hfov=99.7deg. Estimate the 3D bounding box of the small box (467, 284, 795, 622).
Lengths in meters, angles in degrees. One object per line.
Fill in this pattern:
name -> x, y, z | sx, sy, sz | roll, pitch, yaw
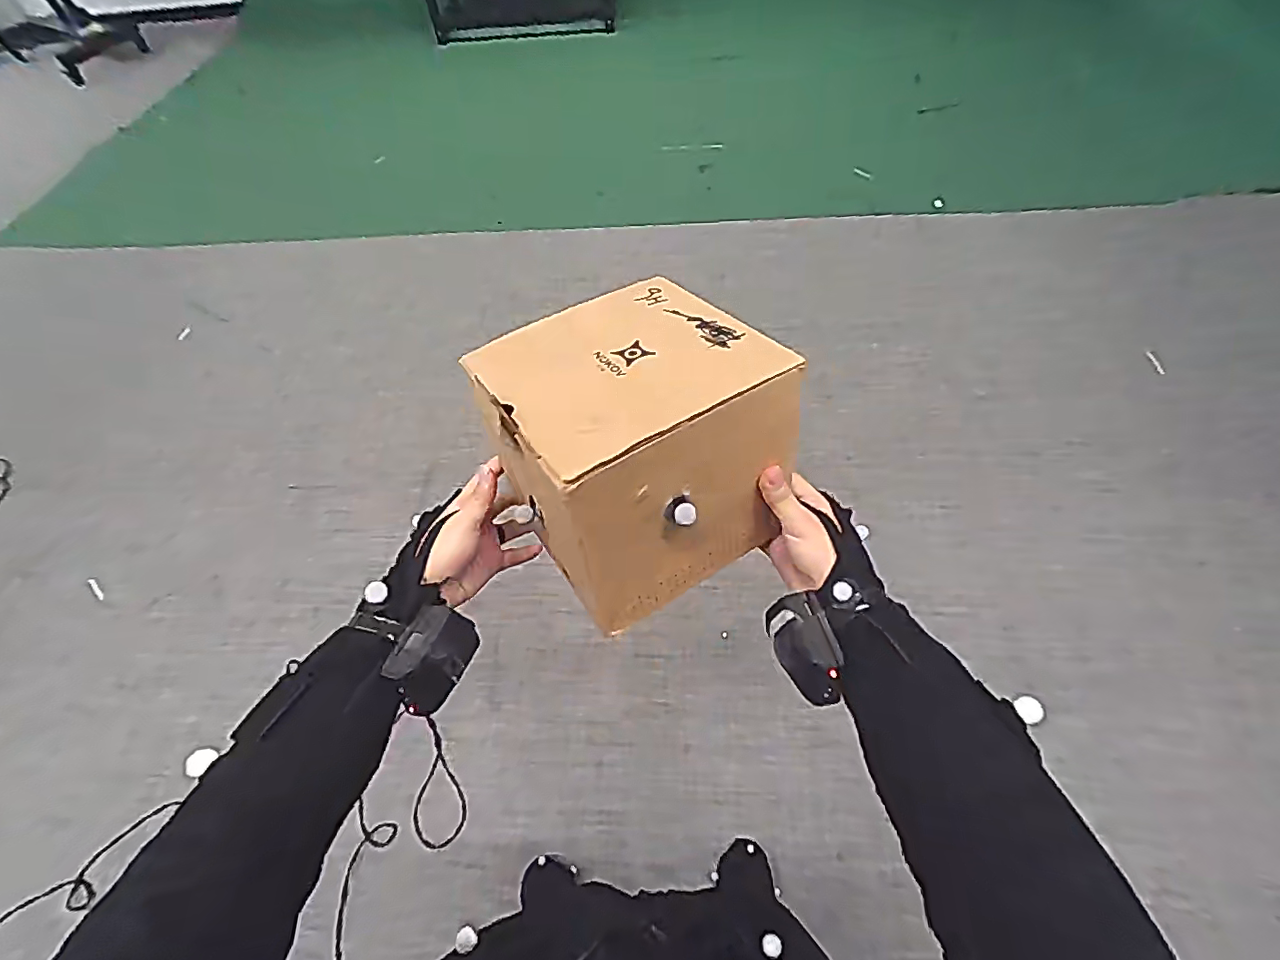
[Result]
small box -> -0.003, -0.022, 0.427 | 0.179, 0.176, 0.168 | -29, 50, -19
